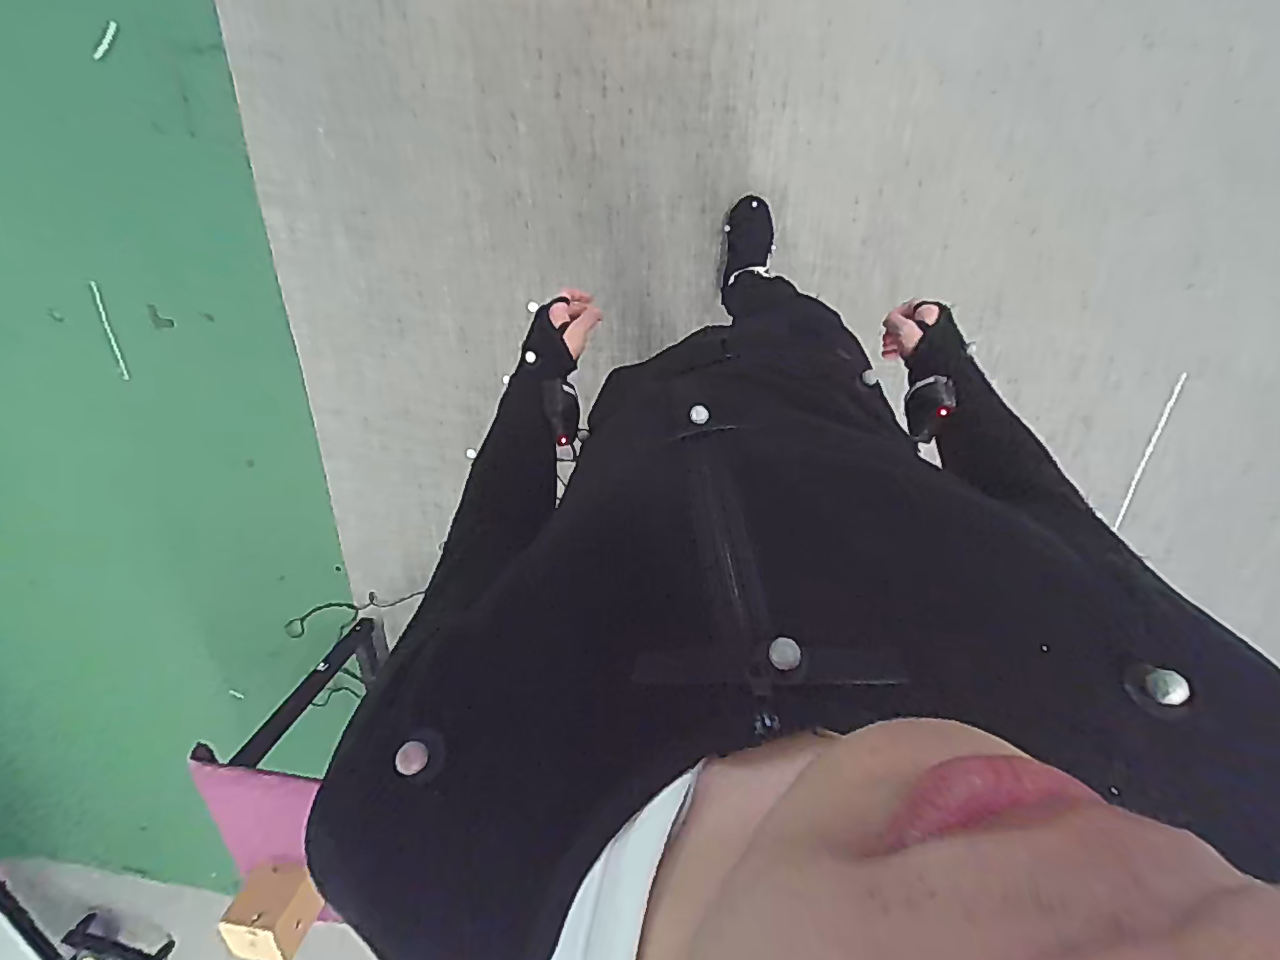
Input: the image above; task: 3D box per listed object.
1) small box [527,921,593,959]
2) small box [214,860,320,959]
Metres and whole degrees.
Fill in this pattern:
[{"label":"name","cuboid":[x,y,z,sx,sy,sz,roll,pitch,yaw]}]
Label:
[{"label":"small box","cuboid":[-0.228,1.355,1.476,0.168,0.176,0.179,7,114,6]},{"label":"small box","cuboid":[-1.057,1.239,1.552,0.168,0.176,0.179,4,115,6]}]
